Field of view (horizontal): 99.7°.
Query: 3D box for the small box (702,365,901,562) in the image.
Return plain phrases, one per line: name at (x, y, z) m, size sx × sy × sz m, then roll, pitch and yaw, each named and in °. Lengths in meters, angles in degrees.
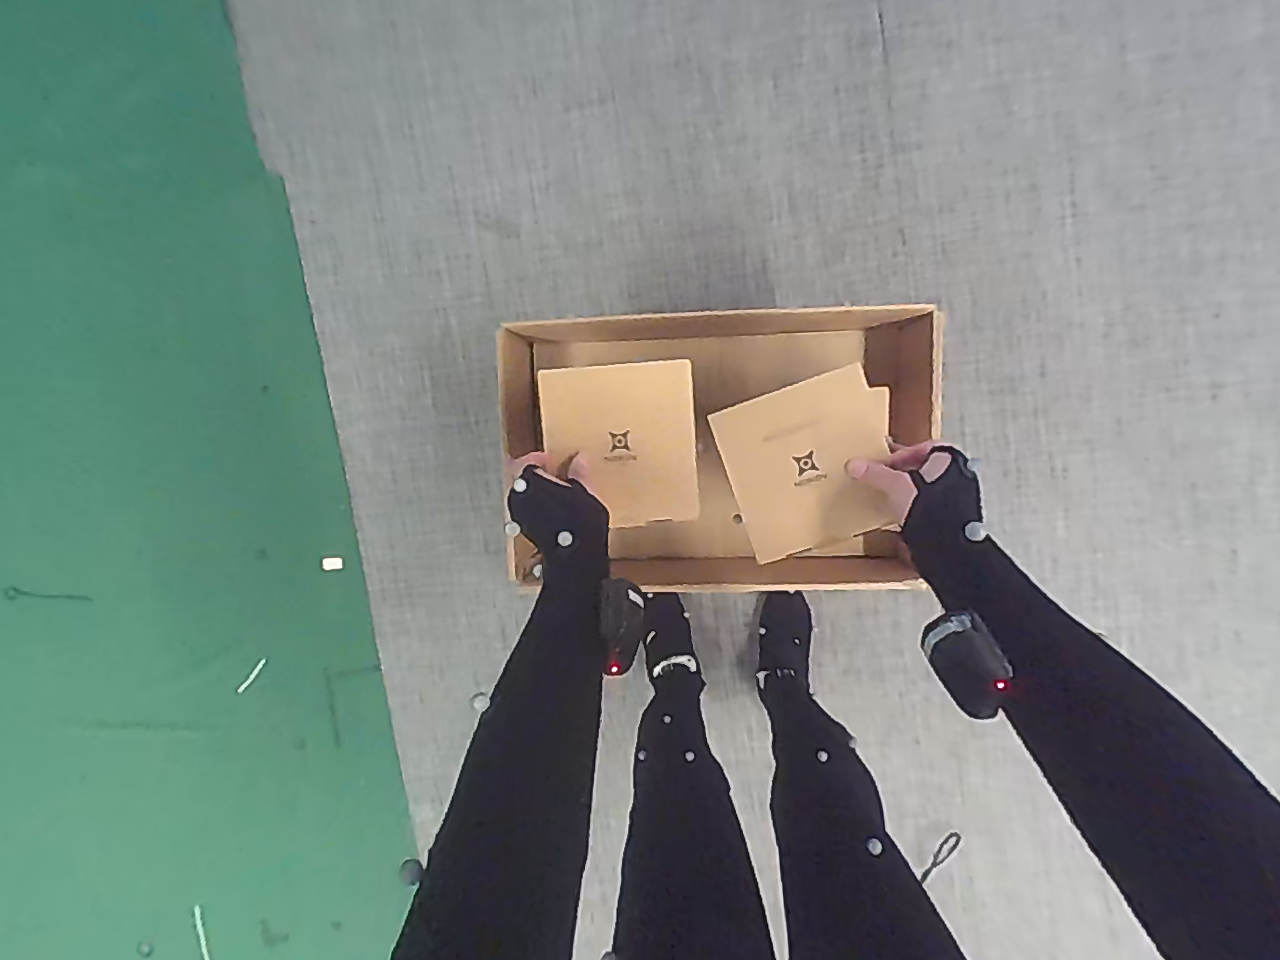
small box at (0.185, -0.023, 0.649) m, size 0.168 × 0.176 × 0.179 m, roll -19°, pitch 92°, yaw 13°
